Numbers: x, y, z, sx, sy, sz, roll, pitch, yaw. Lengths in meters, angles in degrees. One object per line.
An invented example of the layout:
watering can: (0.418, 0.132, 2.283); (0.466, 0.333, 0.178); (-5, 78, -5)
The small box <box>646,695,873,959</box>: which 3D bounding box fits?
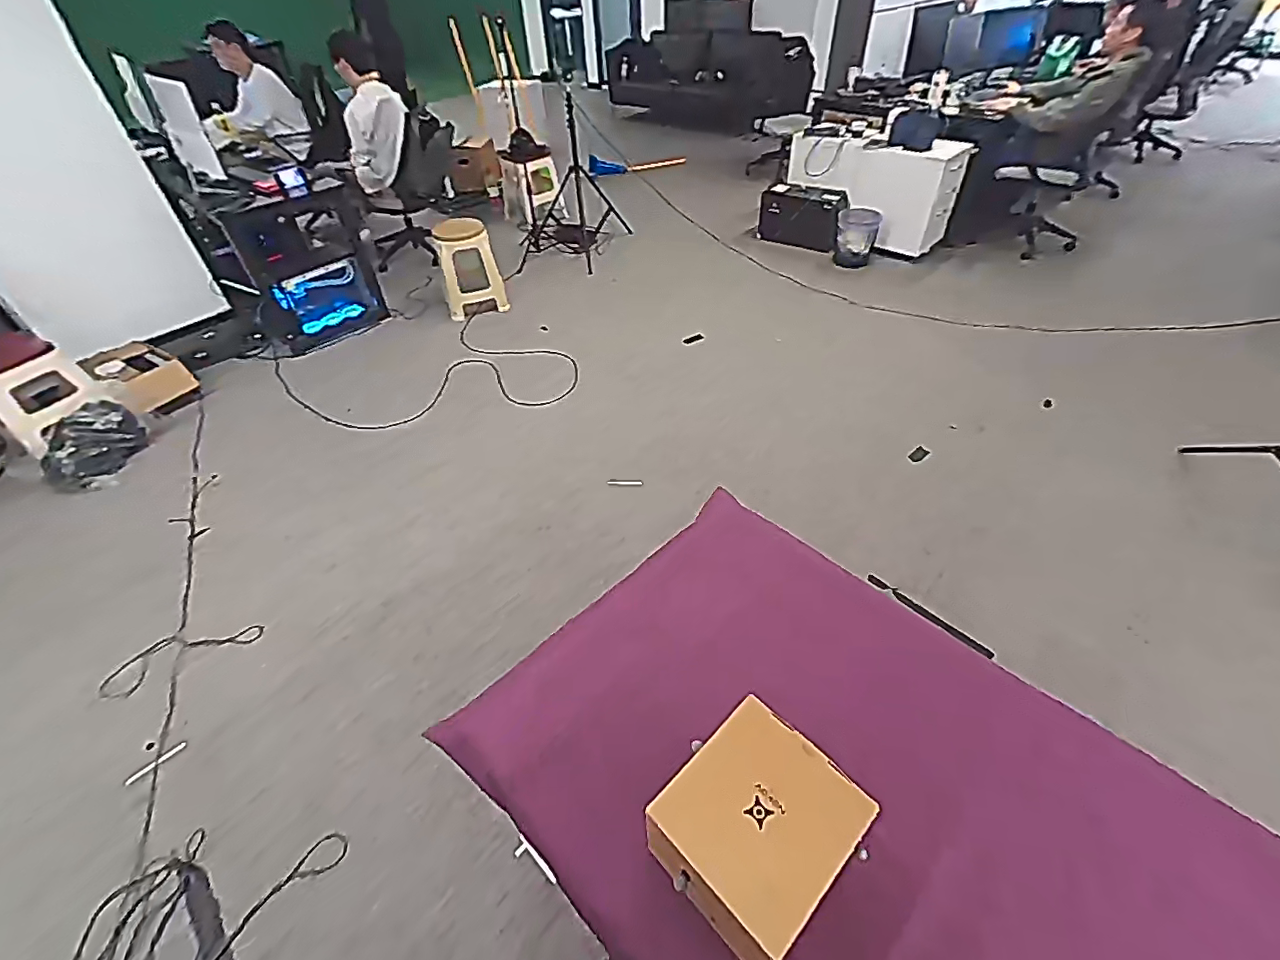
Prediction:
small box: (0.126, 0.392, 0.607); (0.179, 0.176, 0.168); (-34, 52, -30)
